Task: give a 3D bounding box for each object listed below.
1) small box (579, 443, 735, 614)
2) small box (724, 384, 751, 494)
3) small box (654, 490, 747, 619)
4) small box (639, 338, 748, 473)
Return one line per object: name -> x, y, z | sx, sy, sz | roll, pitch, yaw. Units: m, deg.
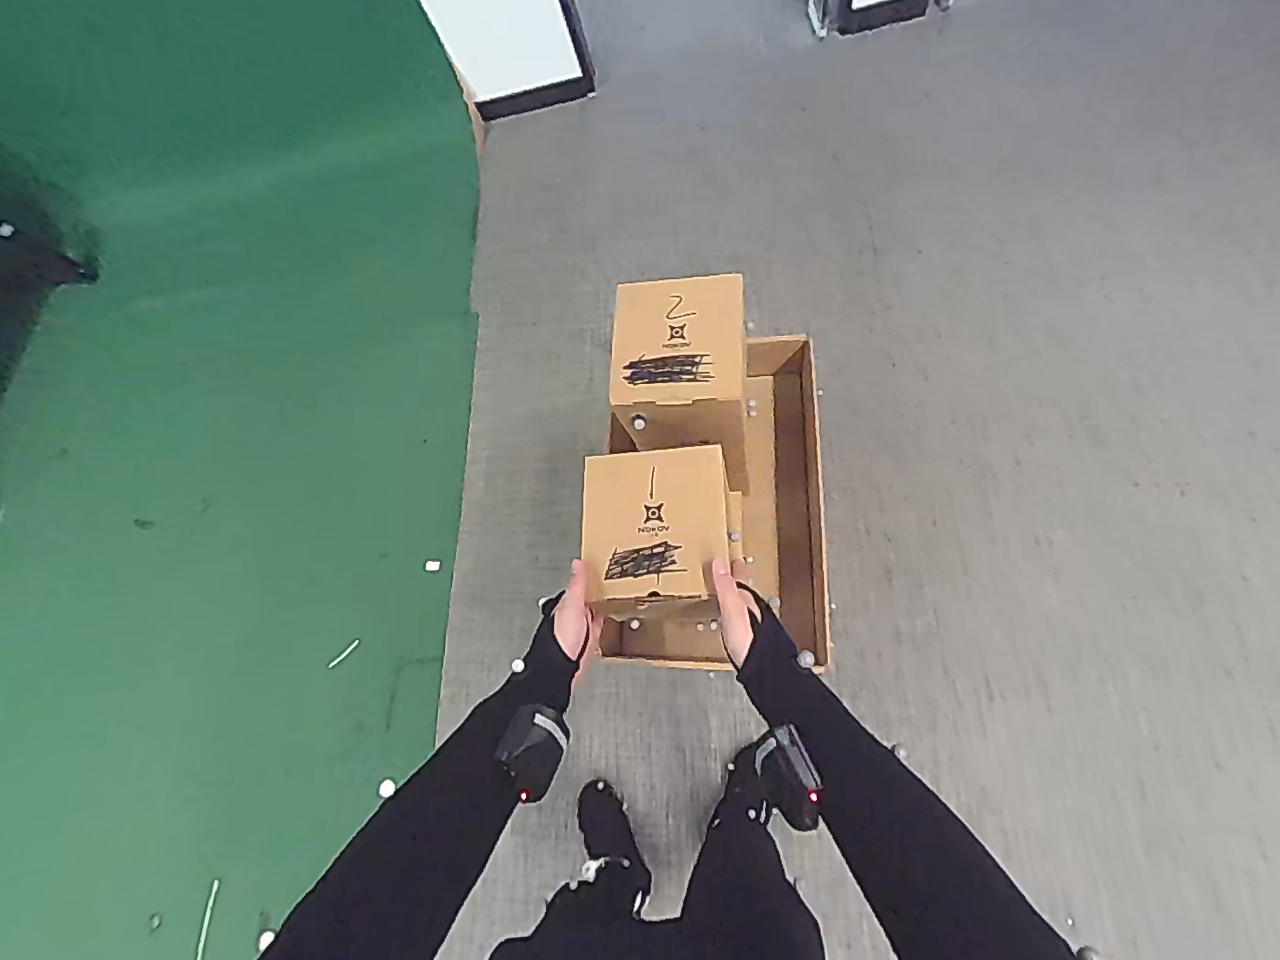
small box -> 0.029, 0.072, 0.679 | 0.168, 0.176, 0.179 | -4, 67, 10
small box -> 0.132, -0.076, 1.064 | 0.168, 0.176, 0.179 | -1, 74, 13
small box -> 0.079, 0.120, 0.836 | 0.168, 0.176, 0.179 | 0, 73, 12
small box -> 0.097, -0.118, 0.912 | 0.168, 0.176, 0.179 | -1, 75, 12
